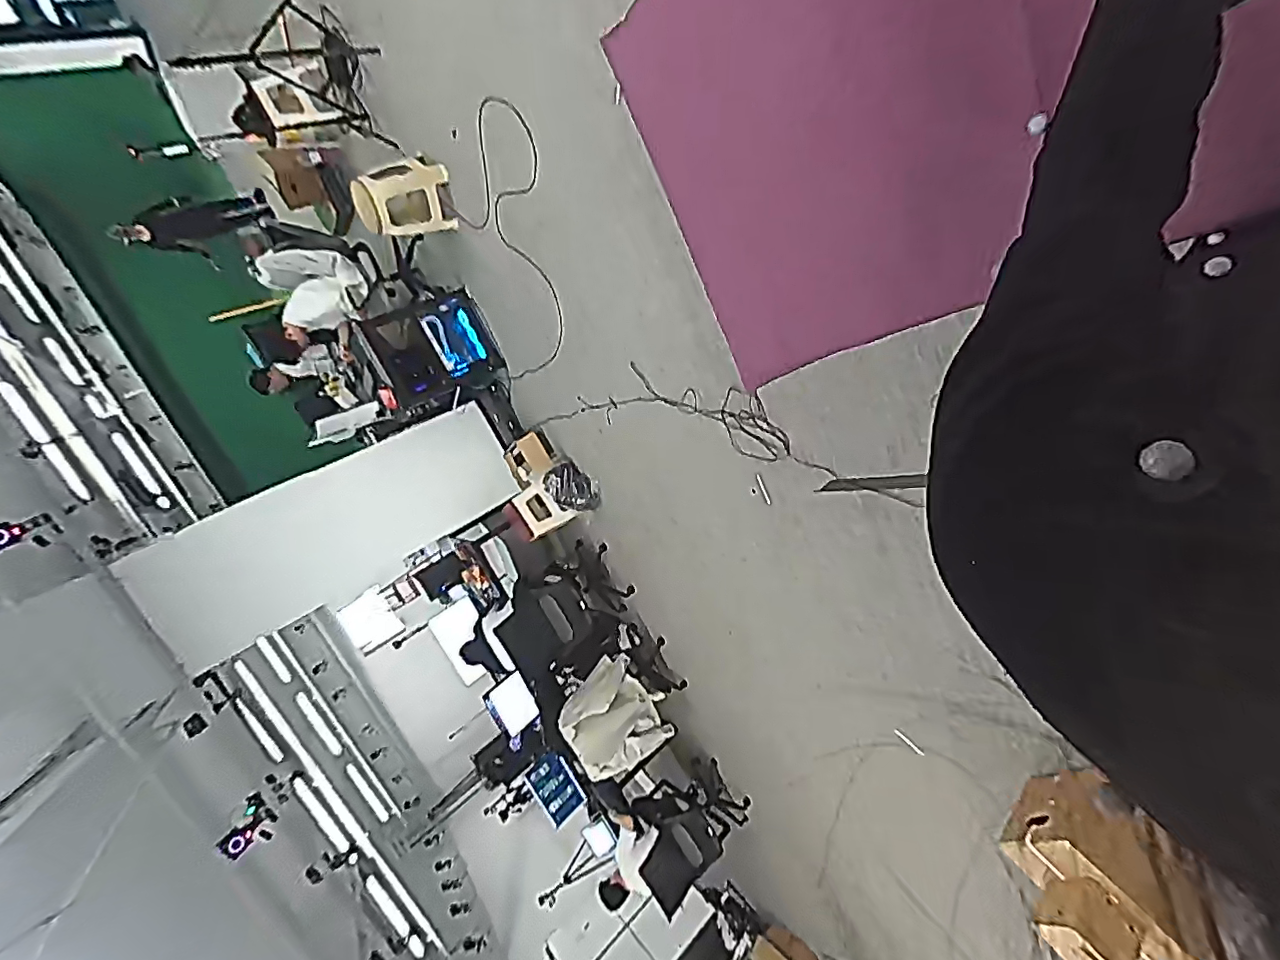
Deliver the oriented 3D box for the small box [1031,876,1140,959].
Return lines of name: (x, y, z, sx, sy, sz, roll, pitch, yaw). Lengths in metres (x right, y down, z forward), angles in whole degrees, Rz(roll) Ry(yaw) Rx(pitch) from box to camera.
small box: (1.313, 1.306, 1.589, 0.168, 0.176, 0.179, 45, 149, 22)
